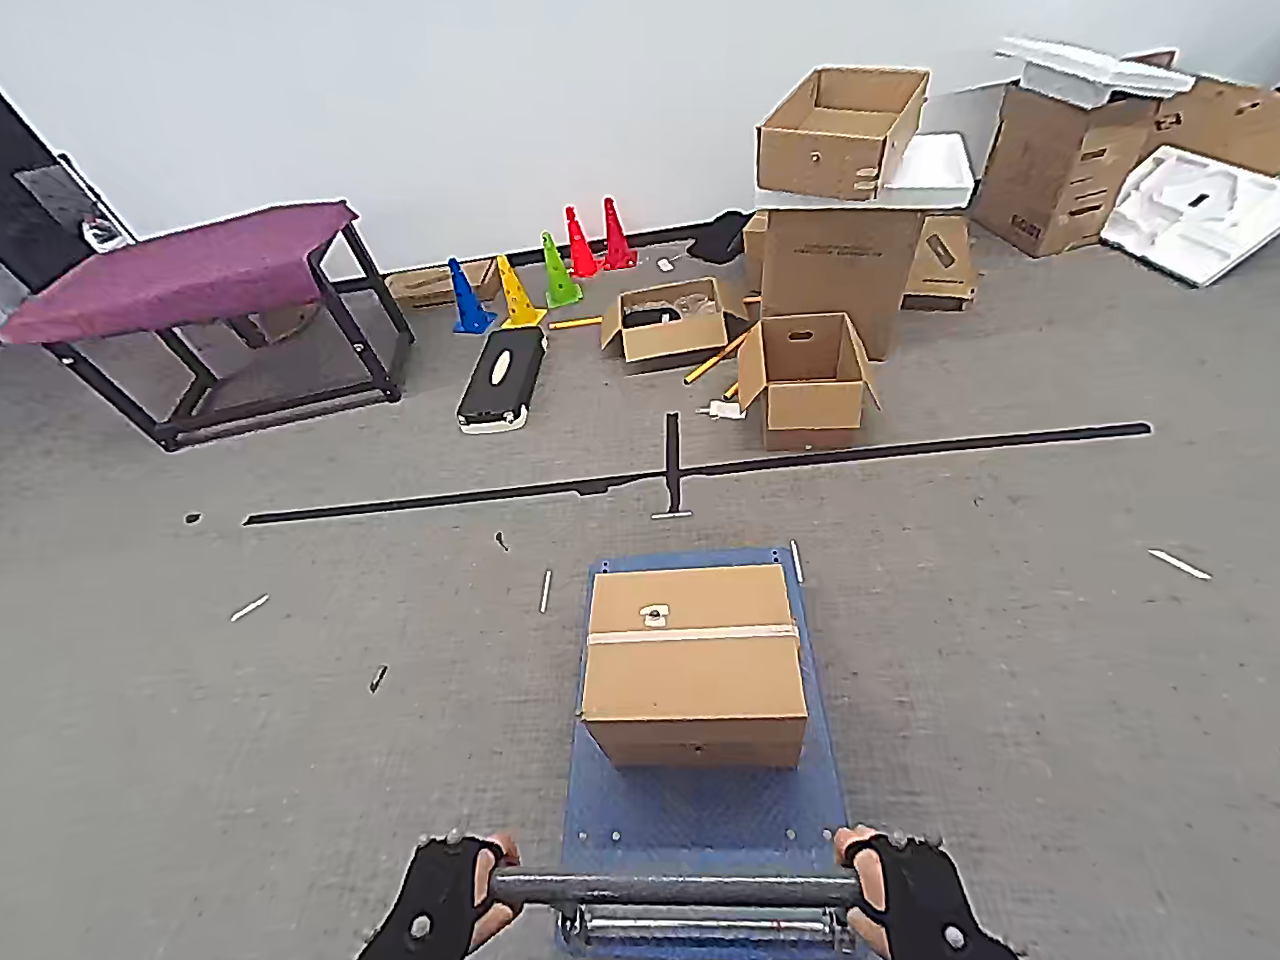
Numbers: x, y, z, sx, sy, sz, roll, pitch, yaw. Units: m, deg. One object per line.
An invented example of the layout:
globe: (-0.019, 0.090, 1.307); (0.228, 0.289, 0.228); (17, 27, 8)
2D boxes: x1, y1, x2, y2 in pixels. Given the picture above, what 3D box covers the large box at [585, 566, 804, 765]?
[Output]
large box: (0.121, 0.415, 1.181); (0.408, 0.320, 0.320); (-6, 46, 9)
